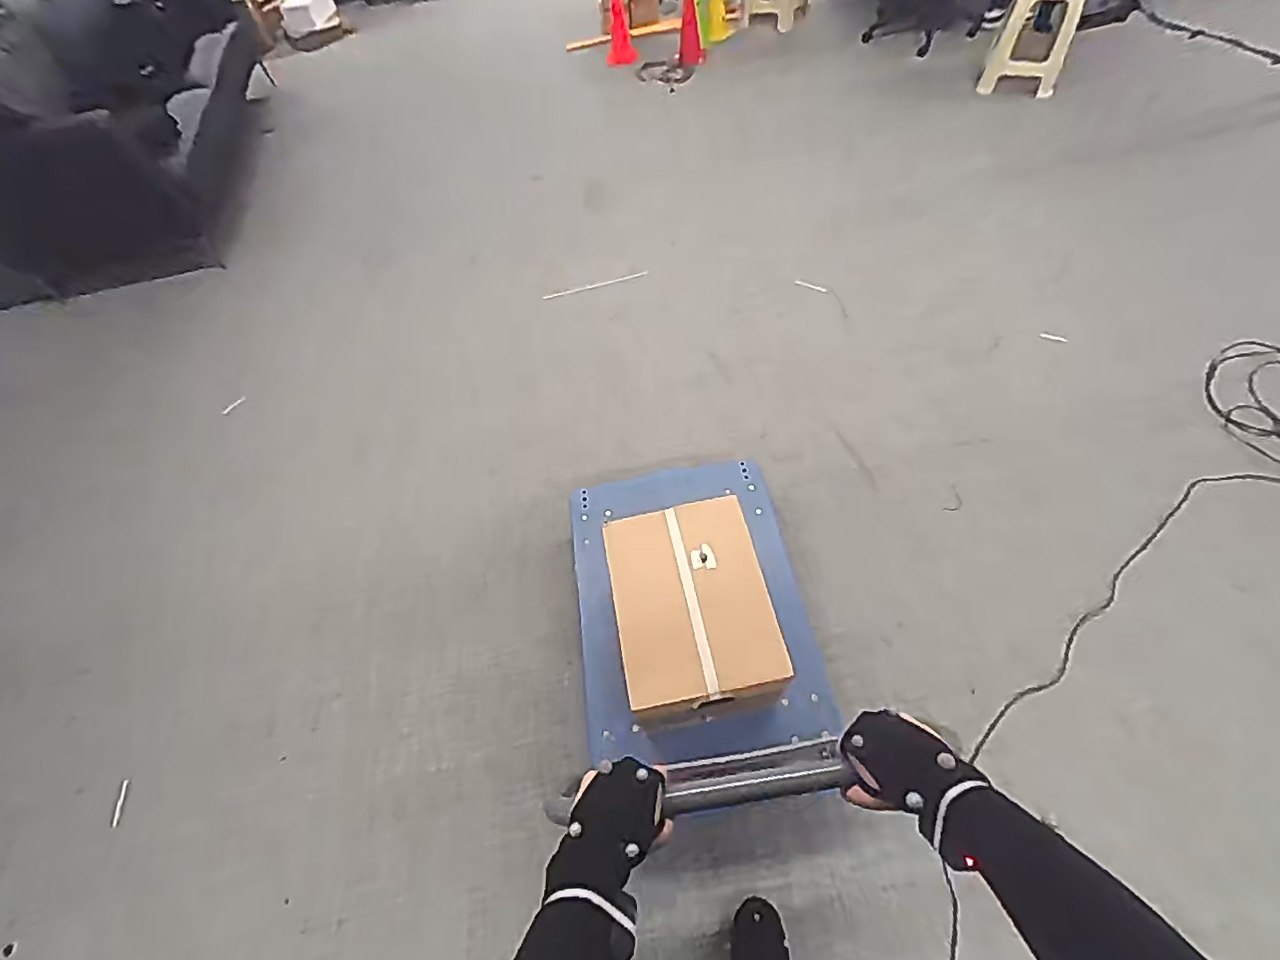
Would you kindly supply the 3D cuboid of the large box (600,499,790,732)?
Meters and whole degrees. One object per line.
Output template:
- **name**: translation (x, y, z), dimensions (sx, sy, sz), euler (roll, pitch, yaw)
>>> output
- **large box**: translation (0.115, 0.315, 1.243), dimensions (0.320, 0.320, 0.408), euler (-12, 57, -1)
